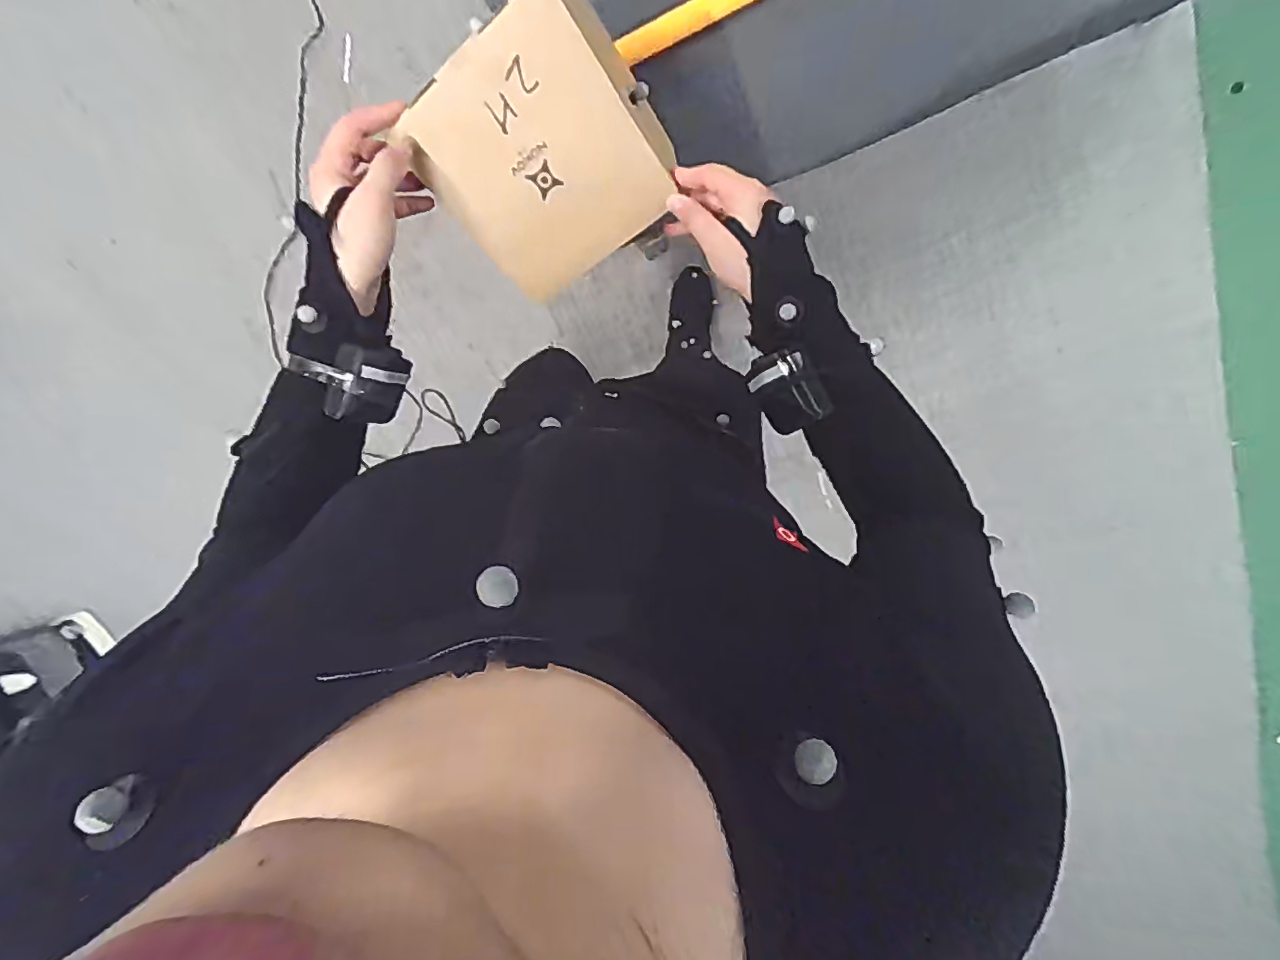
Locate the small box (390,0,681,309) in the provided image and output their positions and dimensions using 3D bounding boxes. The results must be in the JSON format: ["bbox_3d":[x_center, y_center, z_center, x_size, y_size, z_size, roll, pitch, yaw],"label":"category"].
[{"bbox_3d":[-0.079,-0.299,0.488,0.168,0.176,0.179,-28,128,23],"label":"small box"}]
